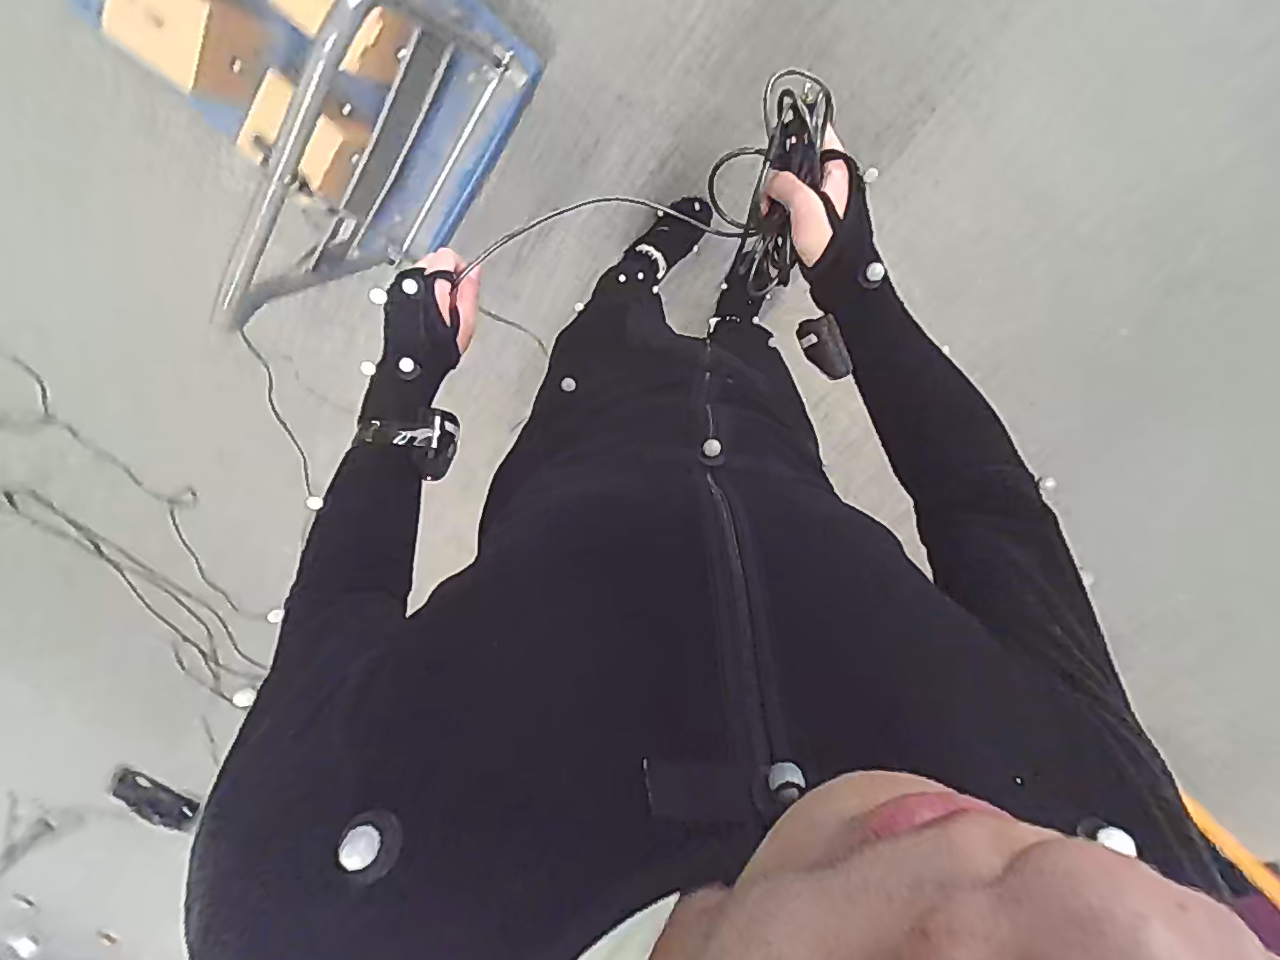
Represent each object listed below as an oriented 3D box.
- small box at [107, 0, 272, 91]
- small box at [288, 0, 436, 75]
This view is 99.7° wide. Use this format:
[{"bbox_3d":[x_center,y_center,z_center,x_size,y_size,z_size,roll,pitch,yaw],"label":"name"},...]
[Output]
[{"bbox_3d":[-0.879,-0.910,1.070,0.179,0.176,0.168,35,117,-12],"label":"small box"},{"bbox_3d":[-0.528,-0.915,1.026,0.179,0.176,0.168,39,116,-15],"label":"small box"}]
